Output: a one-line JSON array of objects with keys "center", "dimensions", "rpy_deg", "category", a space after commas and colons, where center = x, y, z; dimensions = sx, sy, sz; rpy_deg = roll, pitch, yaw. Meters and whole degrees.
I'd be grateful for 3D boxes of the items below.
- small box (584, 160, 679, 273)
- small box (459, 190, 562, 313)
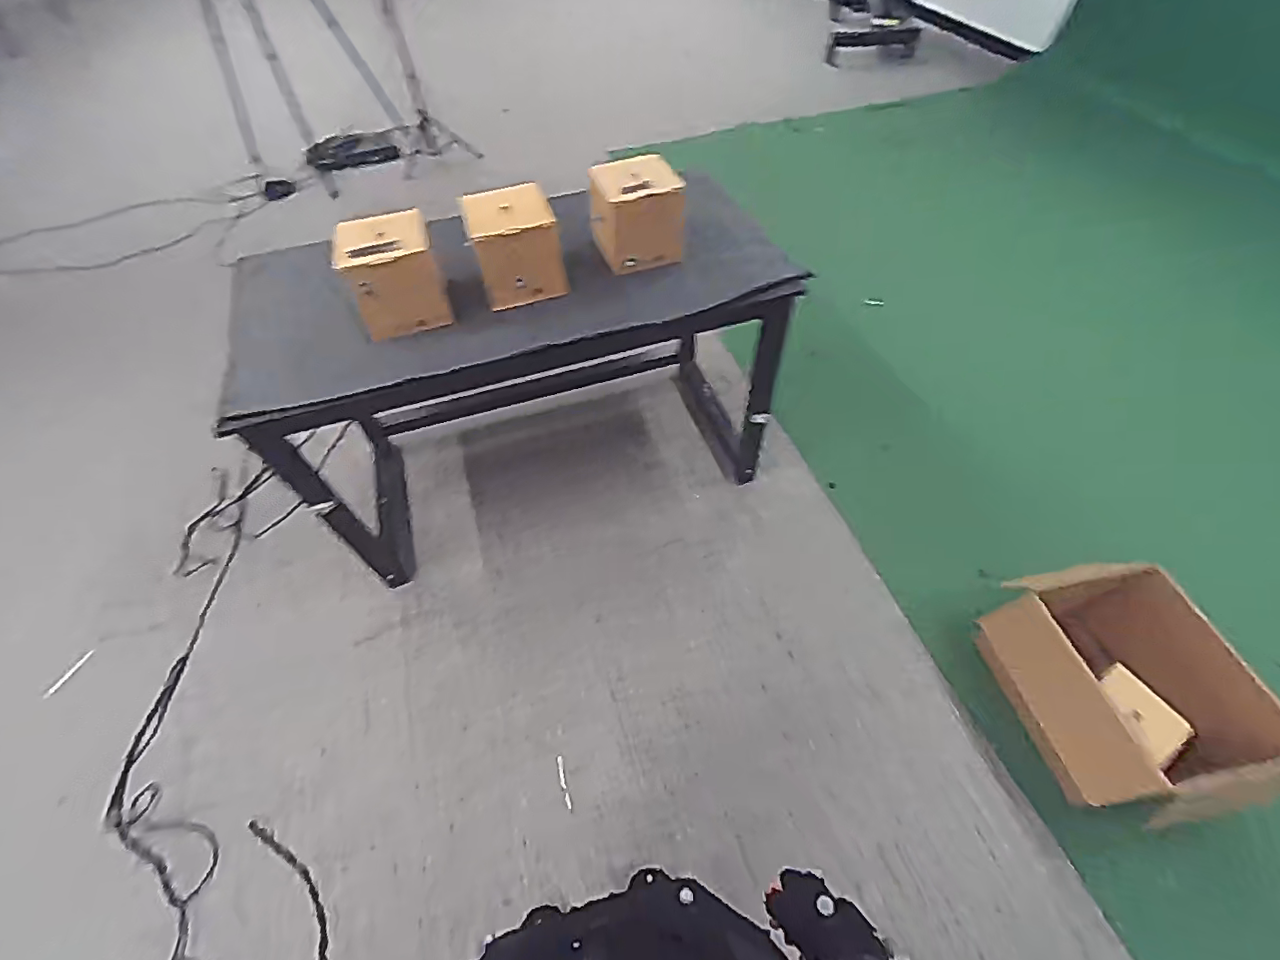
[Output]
[{"center": [-0.017, -0.589, 1.227], "dimensions": [0.168, 0.176, 0.179], "rpy_deg": [-18, 54, -10], "category": "small box"}, {"center": [-0.277, -0.493, 1.171], "dimensions": [0.168, 0.176, 0.179], "rpy_deg": [-17, 56, -10], "category": "small box"}]
